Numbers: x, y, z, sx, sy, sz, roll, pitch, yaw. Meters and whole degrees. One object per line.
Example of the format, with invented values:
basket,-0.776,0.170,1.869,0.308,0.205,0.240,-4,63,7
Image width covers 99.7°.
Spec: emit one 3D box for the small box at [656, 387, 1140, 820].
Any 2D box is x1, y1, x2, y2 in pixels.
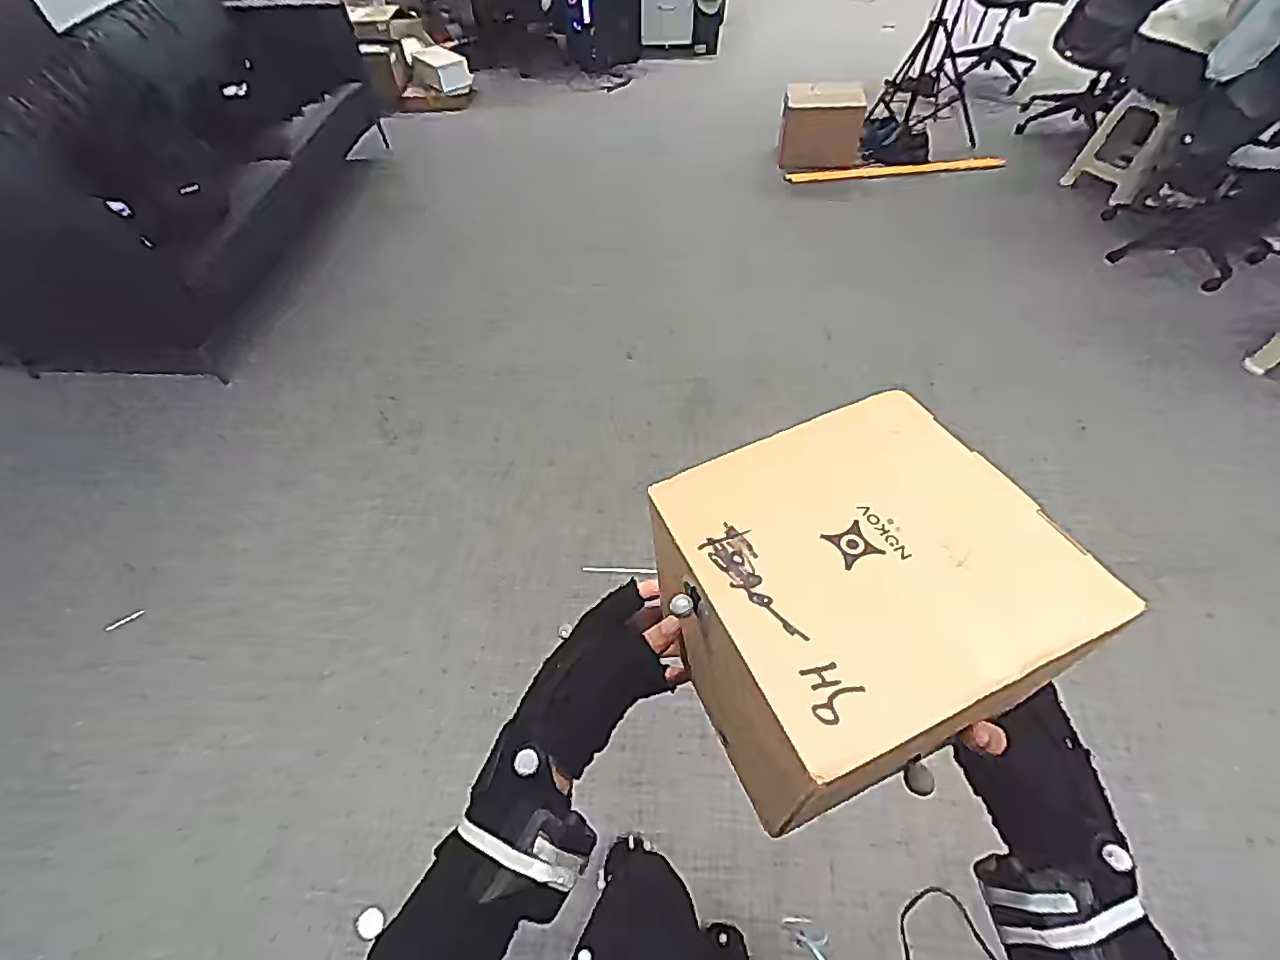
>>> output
small box,0.120,0.077,0.333,0.179,0.176,0.168,-20,51,-12
